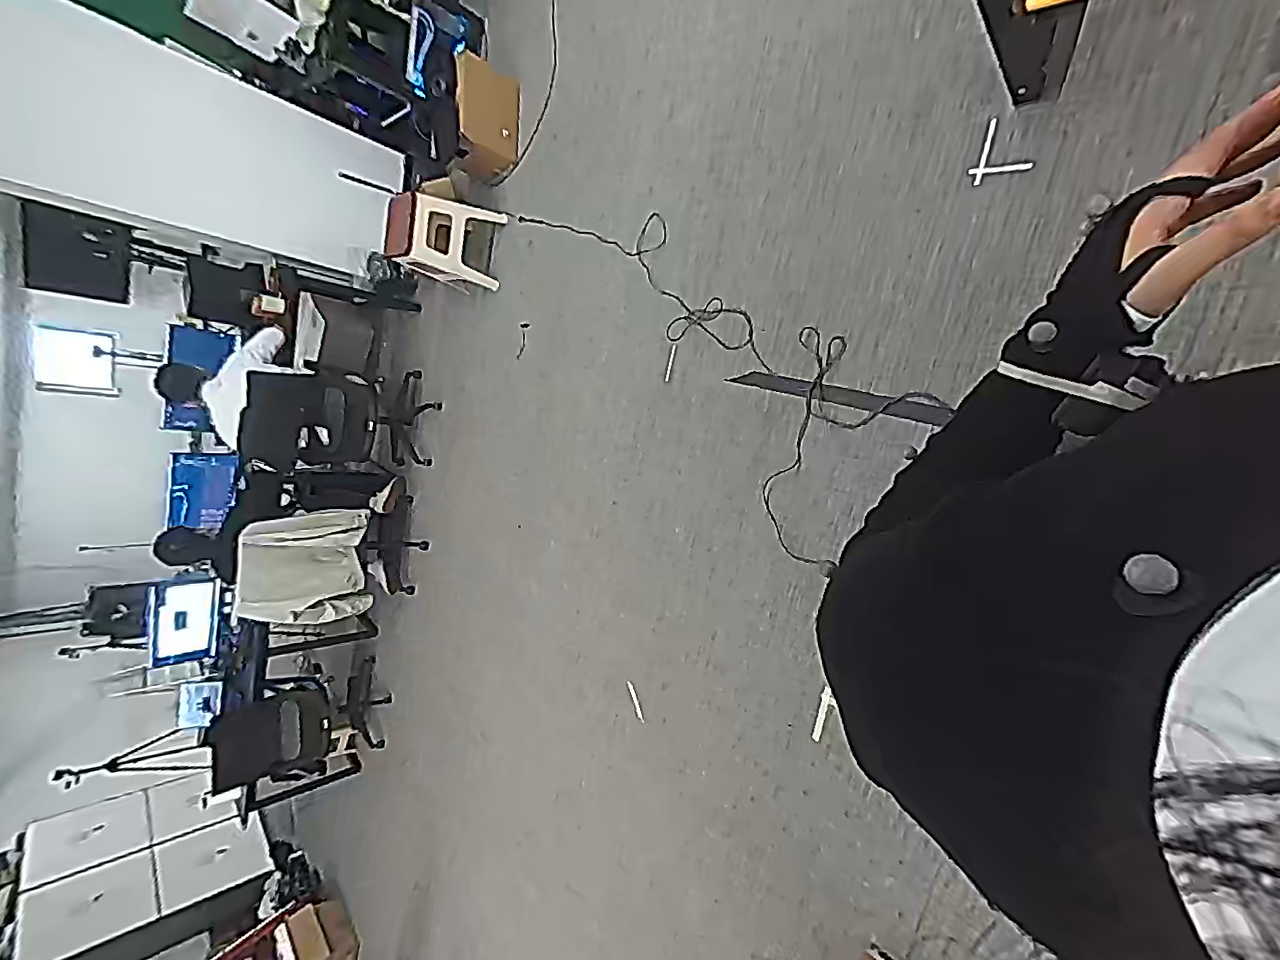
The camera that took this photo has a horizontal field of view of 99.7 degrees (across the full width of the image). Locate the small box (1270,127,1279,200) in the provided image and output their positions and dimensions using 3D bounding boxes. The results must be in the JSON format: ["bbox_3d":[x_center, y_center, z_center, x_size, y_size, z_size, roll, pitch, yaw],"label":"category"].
[{"bbox_3d":[0.445,-0.247,0.261,0.168,0.176,0.179,9,110,47],"label":"small box"}]
